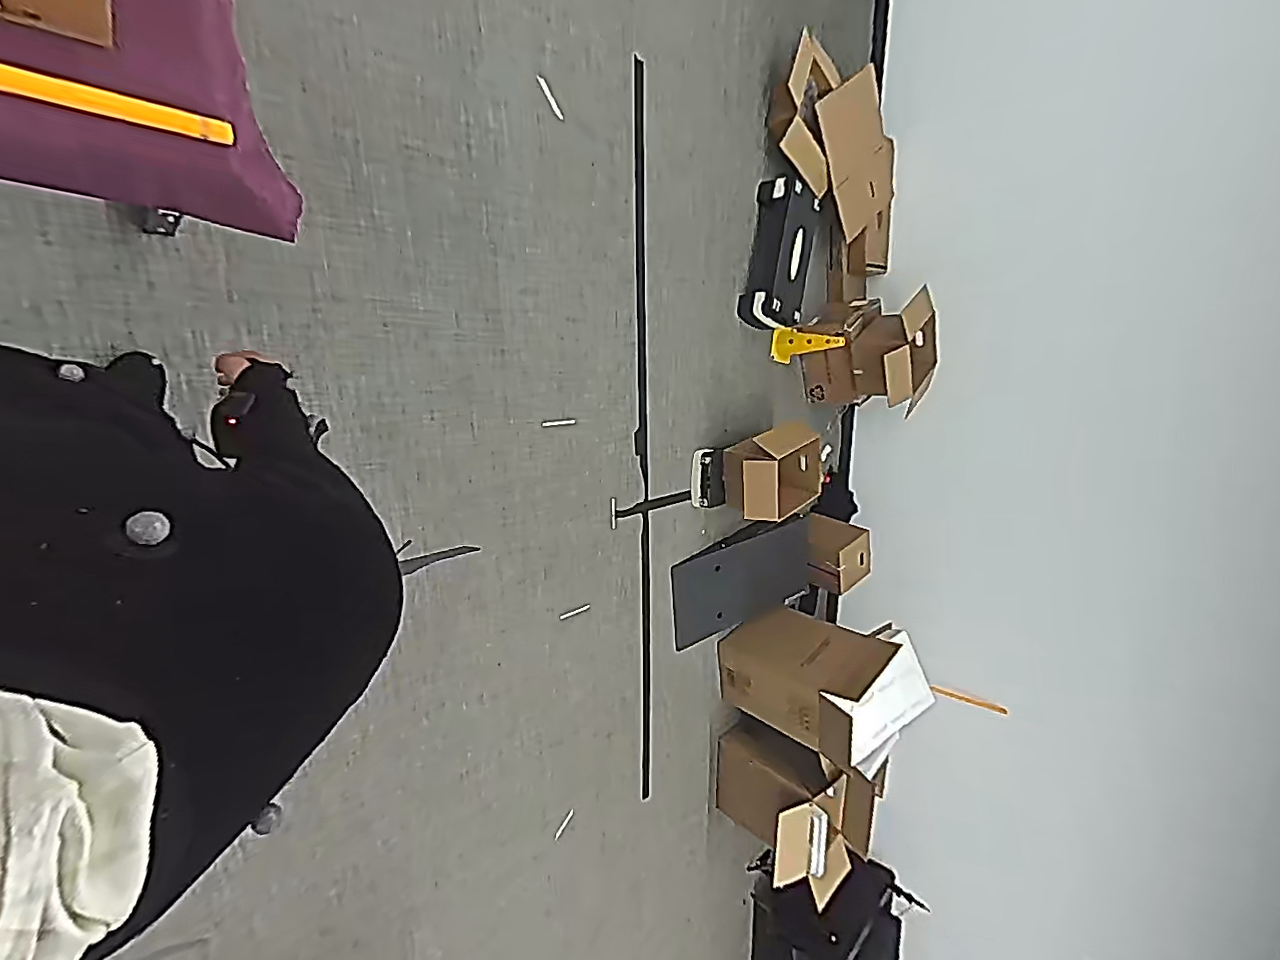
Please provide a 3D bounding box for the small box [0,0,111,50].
[{"bbox_3d":[-0.607,-0.545,0.486,0.168,0.176,0.179,-13,106,-41],"label":"small box"}]
